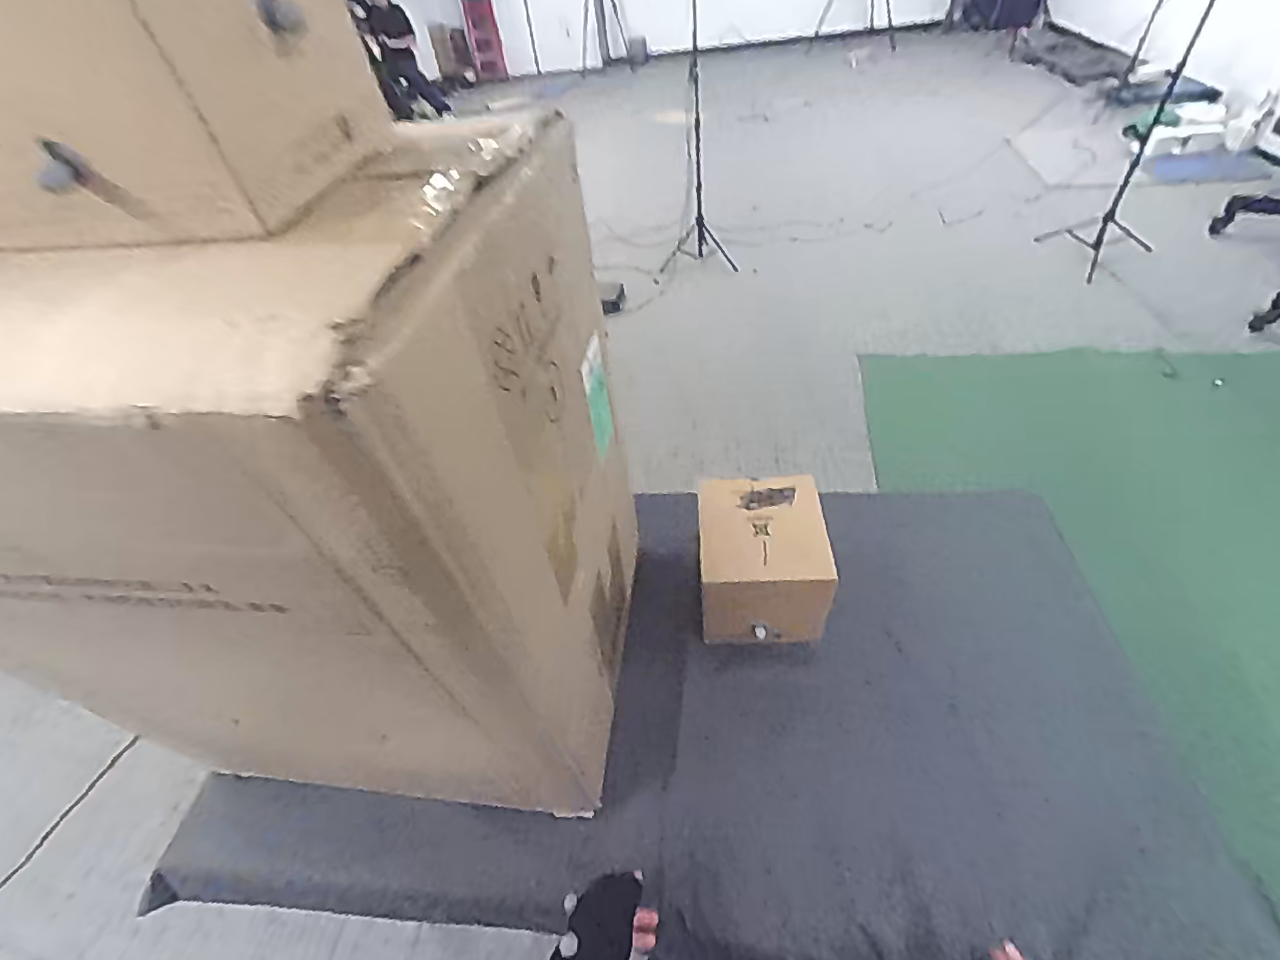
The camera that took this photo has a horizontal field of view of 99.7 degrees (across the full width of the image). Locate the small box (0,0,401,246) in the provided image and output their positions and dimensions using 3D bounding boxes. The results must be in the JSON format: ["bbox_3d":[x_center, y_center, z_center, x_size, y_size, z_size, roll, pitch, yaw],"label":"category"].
[{"bbox_3d":[-0.264,-0.243,0.292,0.179,0.176,0.168,1,48,8],"label":"small box"}]
